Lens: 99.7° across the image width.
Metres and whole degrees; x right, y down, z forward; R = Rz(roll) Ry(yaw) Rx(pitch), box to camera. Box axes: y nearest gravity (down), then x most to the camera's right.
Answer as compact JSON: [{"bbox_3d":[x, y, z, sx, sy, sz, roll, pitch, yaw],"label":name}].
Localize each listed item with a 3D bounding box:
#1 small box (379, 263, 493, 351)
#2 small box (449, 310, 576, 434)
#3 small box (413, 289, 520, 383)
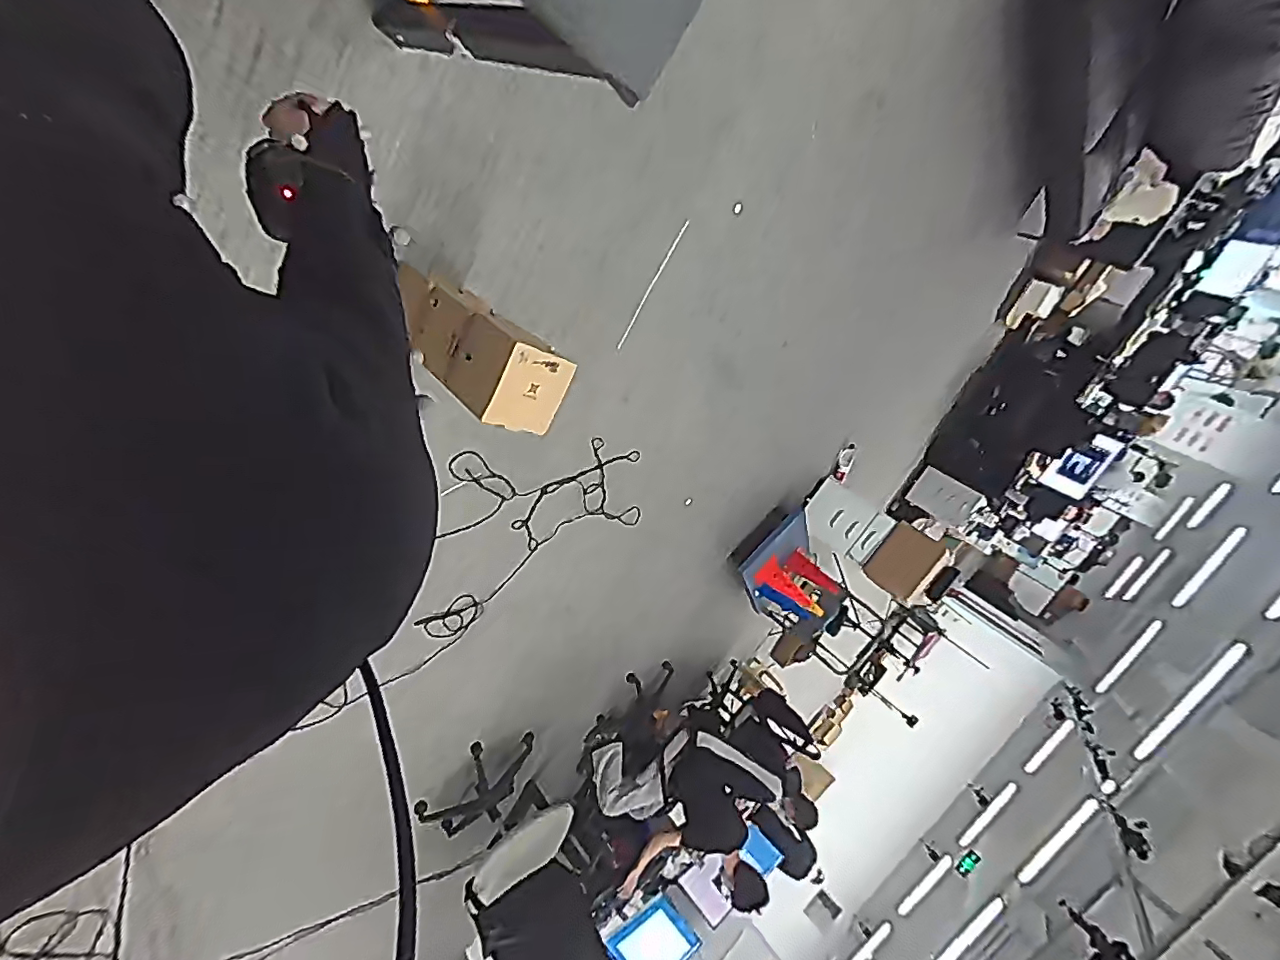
[{"bbox_3d":[-0.493,-0.400,1.305,0.179,0.176,0.168,9,114,-51],"label":"small box"},{"bbox_3d":[-0.273,-0.224,1.134,0.168,0.176,0.179,10,115,-53],"label":"small box"},{"bbox_3d":[-0.382,-0.310,1.223,0.179,0.176,0.168,9,115,-53],"label":"small box"}]
